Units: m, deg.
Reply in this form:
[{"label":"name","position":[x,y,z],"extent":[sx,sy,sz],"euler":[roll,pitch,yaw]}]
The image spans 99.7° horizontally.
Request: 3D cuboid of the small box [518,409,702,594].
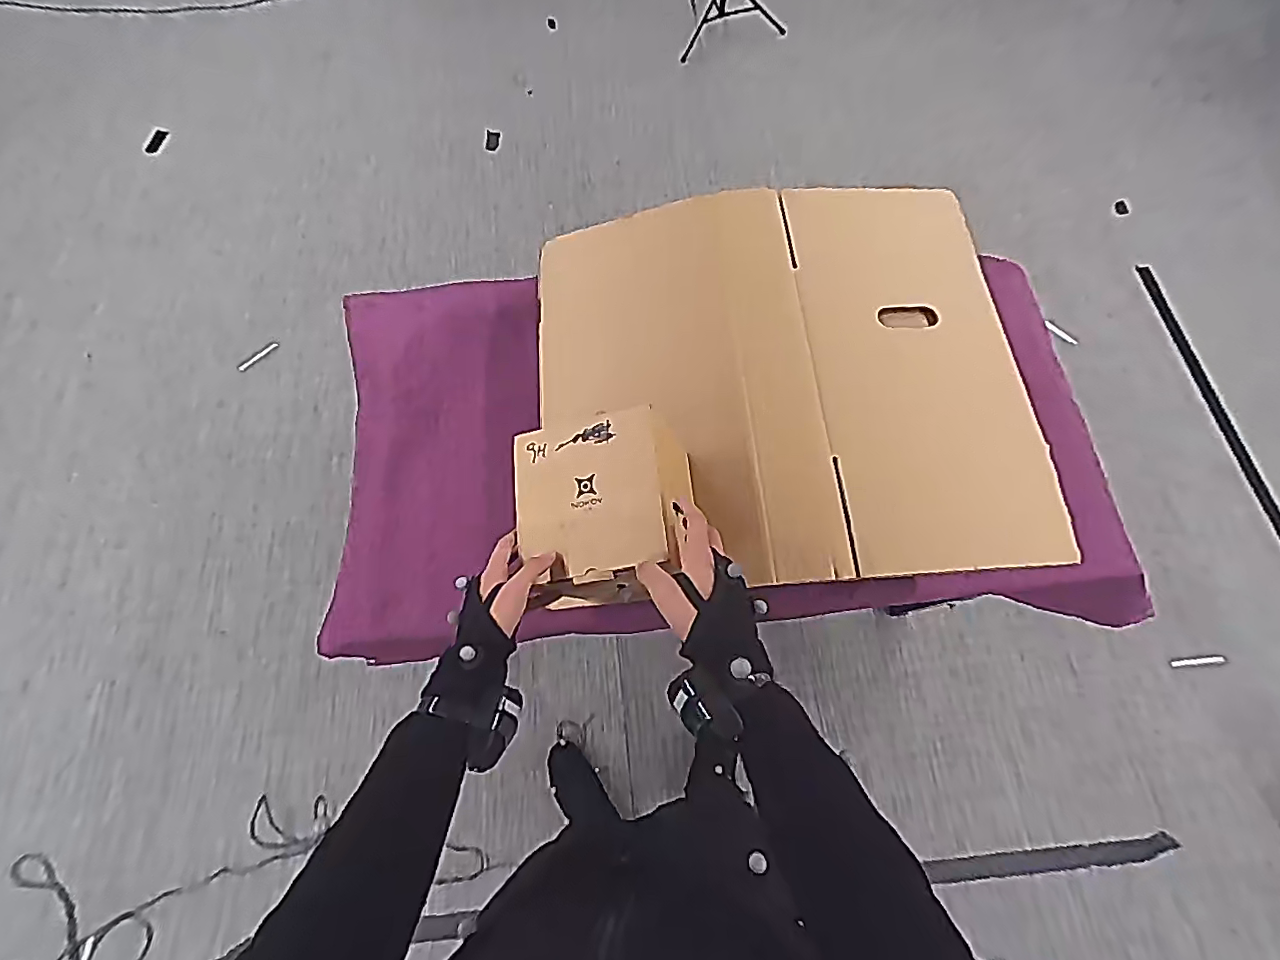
[{"label":"small box","position":[-0.029,0.039,0.647],"extent":[0.168,0.176,0.179],"euler":[-12,71,15]}]
